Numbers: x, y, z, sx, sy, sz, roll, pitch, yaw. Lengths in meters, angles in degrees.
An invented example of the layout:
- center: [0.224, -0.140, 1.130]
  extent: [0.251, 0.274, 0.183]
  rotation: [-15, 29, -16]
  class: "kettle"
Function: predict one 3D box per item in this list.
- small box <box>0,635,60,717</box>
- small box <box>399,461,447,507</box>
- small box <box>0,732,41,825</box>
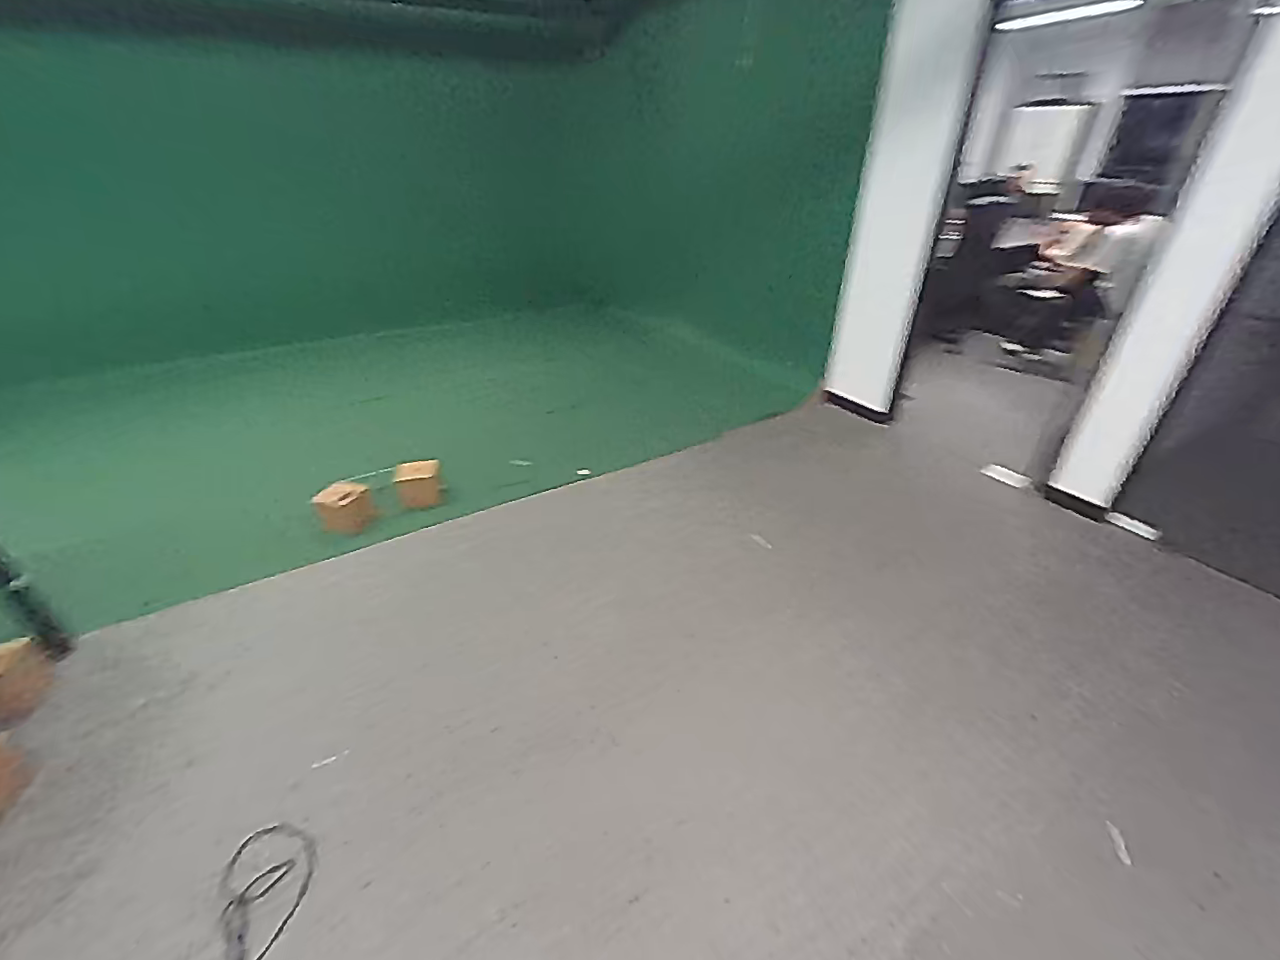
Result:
- center: [-2.021, 0.635, 1.720]
  extent: [0.168, 0.176, 0.179]
  rotation: [-14, 34, -21]
  class: "small box"
- center: [-1.074, 0.022, 2.684]
  extent: [0.179, 0.176, 0.168]
  rotation: [-6, 33, -10]
  class: "small box"
- center: [-1.782, 0.812, 1.443]
  extent: [0.168, 0.176, 0.179]
  rotation: [-6, 34, -8]
  class: "small box"
